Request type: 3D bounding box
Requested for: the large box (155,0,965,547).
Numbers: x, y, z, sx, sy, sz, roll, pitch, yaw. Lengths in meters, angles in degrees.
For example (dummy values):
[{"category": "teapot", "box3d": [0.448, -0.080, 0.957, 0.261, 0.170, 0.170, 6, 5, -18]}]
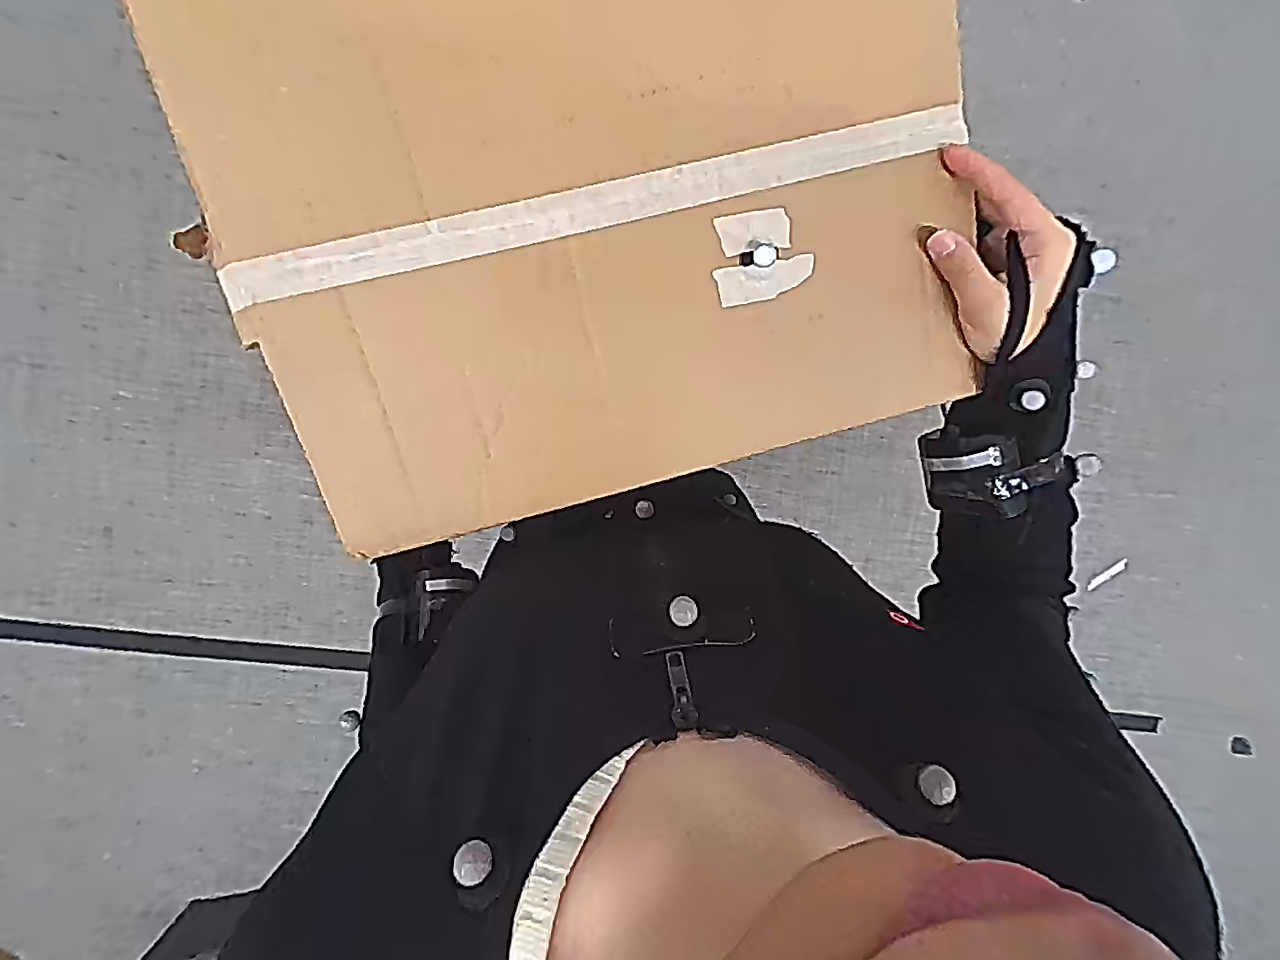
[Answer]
[{"category": "large box", "box3d": [-0.032, -0.184, 0.448, 0.408, 0.320, 0.320, -16, 105, -7]}]
